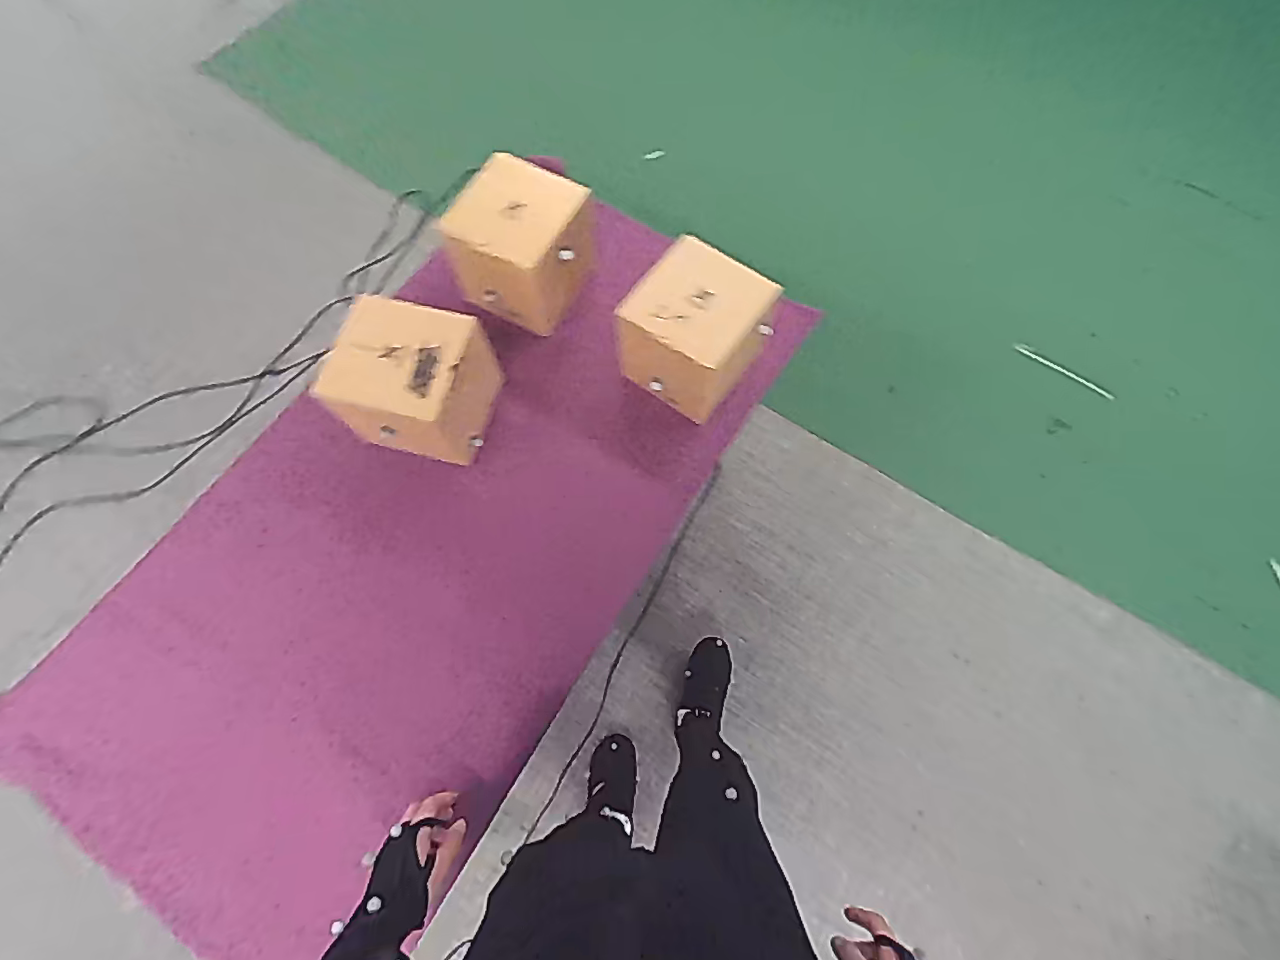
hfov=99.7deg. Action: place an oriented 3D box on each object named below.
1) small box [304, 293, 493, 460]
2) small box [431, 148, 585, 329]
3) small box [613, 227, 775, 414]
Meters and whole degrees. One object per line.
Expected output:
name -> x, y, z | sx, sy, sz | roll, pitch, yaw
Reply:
small box -> -0.336, -0.142, 0.798 | 0.179, 0.176, 0.168 | 12, 72, 4
small box -> -0.200, -0.385, 0.881 | 0.168, 0.176, 0.179 | 26, 75, 8
small box -> 0.076, -0.235, 0.827 | 0.168, 0.176, 0.179 | 34, 75, 12
